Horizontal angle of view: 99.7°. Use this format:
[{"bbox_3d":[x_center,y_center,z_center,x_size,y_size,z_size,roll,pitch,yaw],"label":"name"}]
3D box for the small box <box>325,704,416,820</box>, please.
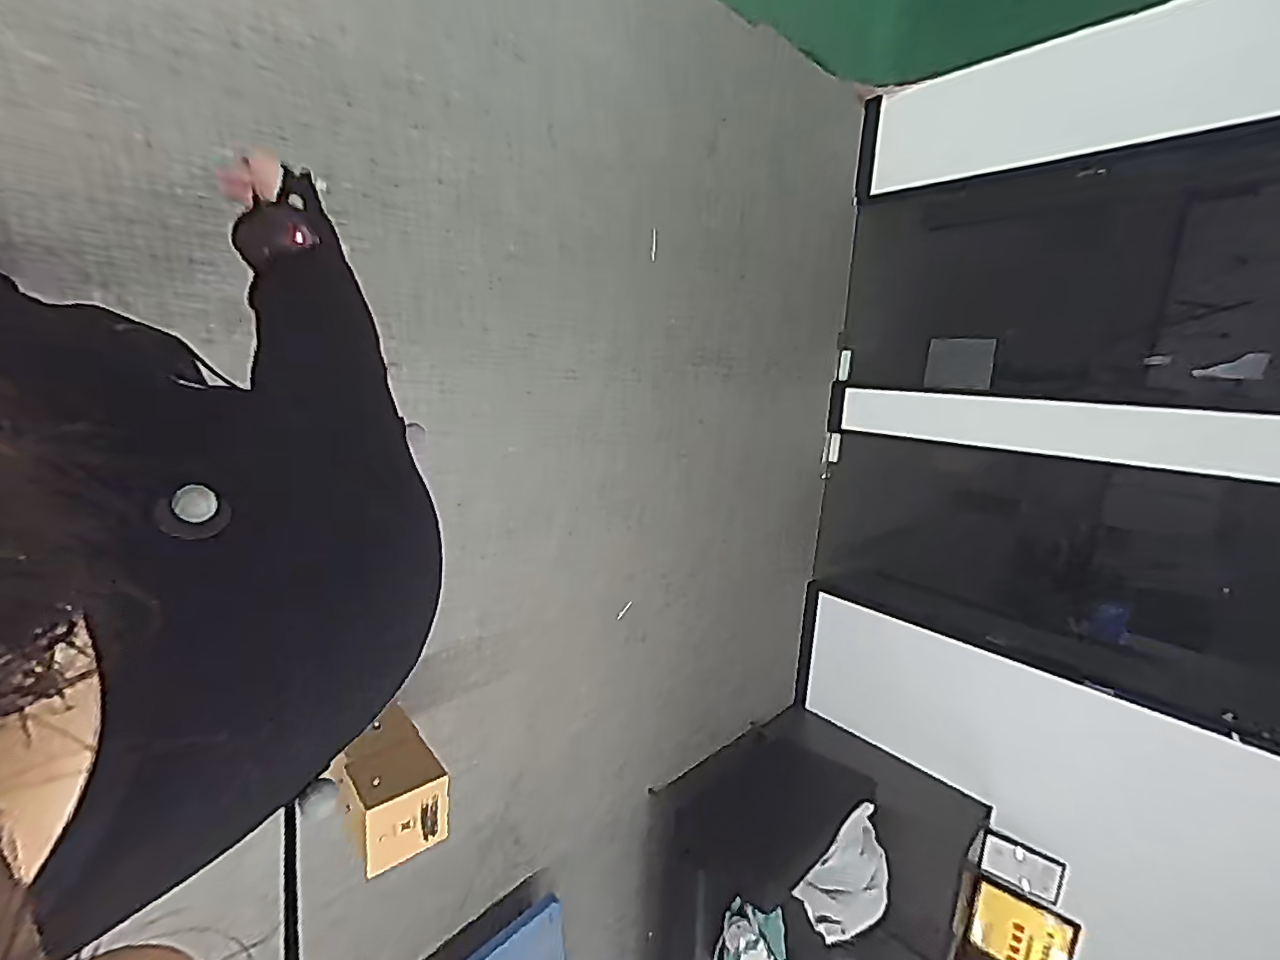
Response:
[{"bbox_3d":[-0.674,0.688,1.349,0.168,0.176,0.179,-6,106,-43],"label":"small box"}]
